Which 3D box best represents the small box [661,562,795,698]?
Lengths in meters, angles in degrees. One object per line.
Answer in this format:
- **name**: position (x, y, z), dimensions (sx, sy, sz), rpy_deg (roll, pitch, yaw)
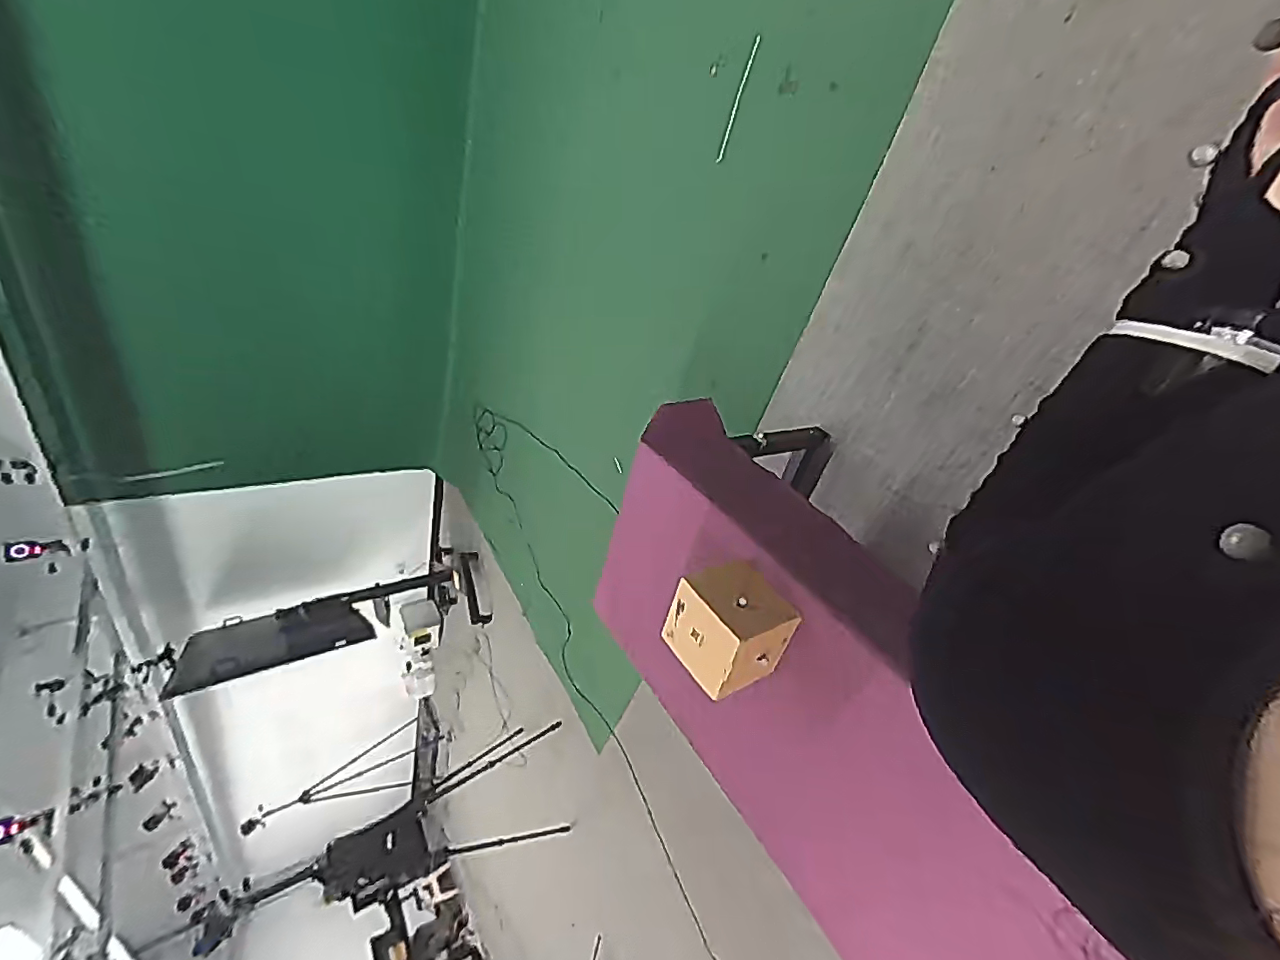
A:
- **small box**: position (0.173, 0.285, 1.067), dimensions (0.179, 0.176, 0.168), rpy_deg (44, 130, 39)
